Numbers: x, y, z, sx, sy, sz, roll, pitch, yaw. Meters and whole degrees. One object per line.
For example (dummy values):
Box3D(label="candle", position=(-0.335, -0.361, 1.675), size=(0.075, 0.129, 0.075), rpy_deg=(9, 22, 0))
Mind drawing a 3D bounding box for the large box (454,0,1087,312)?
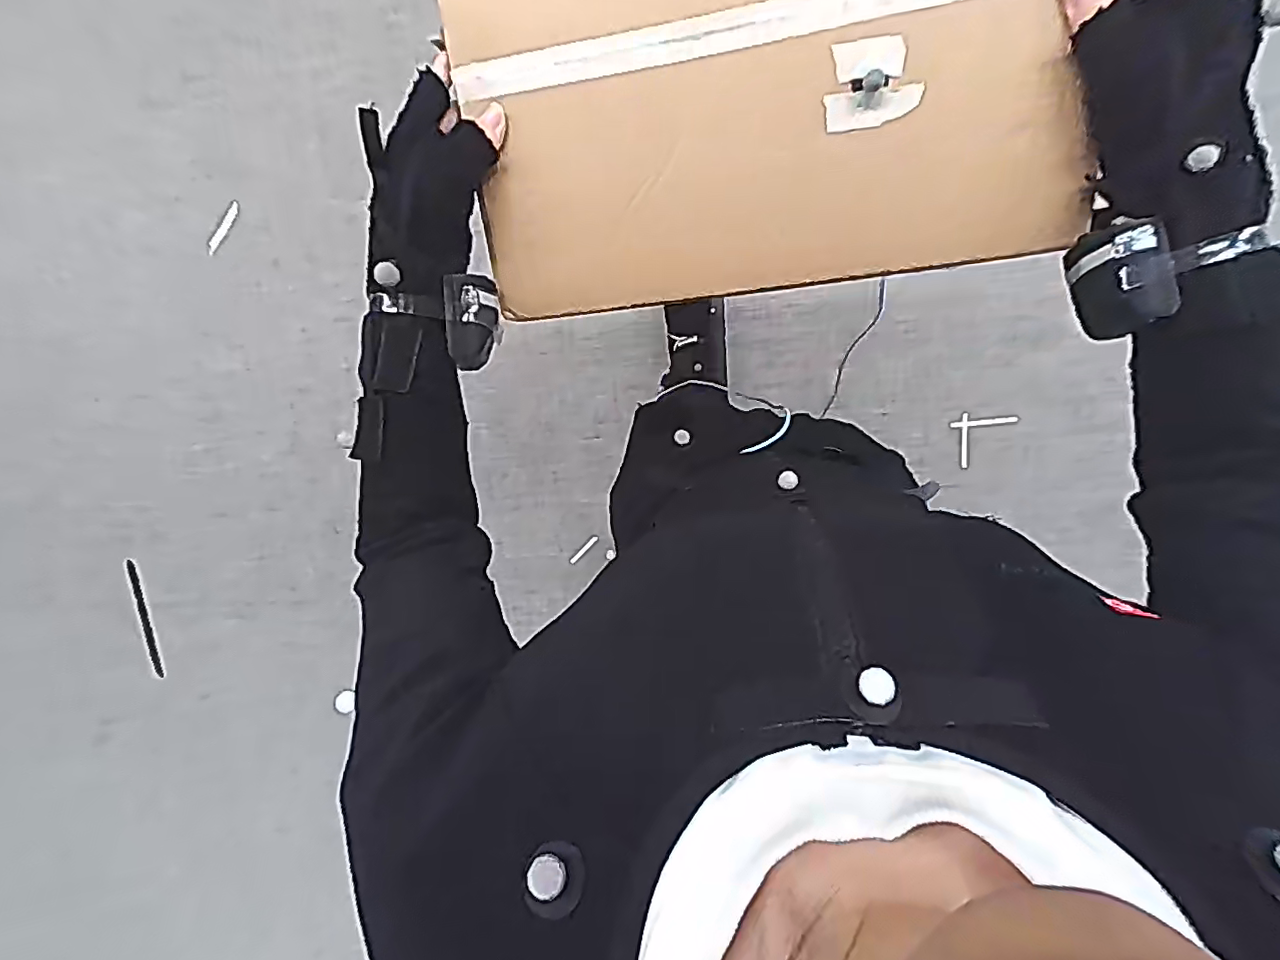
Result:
Box3D(label="large box", position=(0.090, -0.344, 0.492), size=(0.408, 0.320, 0.320), rpy_deg=(-5, 109, 9))
